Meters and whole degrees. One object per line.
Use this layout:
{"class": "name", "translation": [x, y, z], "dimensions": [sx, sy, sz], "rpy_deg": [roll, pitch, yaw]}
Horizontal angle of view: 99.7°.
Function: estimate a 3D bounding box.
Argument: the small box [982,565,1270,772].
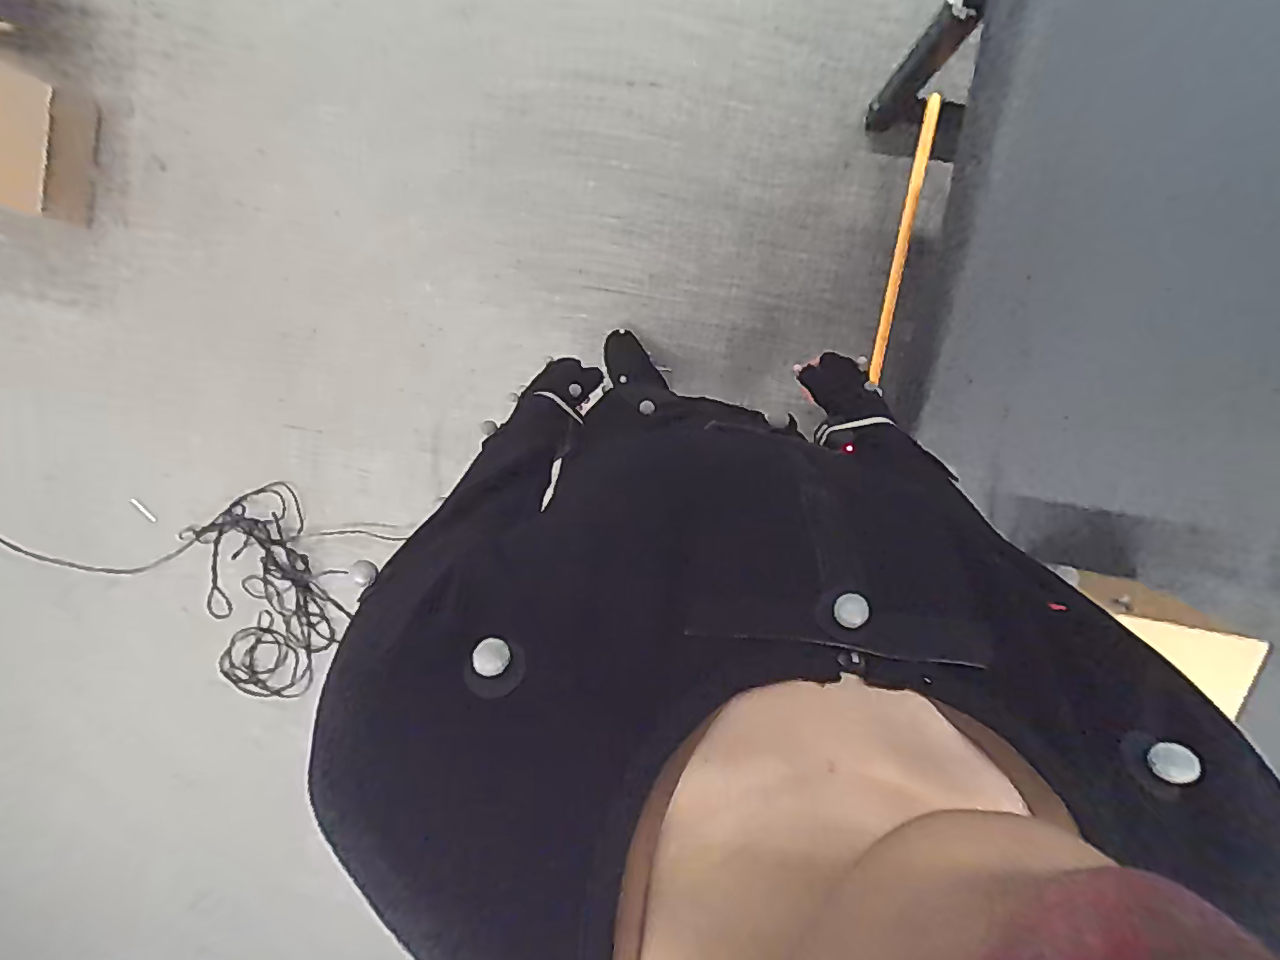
{"class": "small box", "translation": [0.576, 0.220, 0.671], "dimensions": [0.179, 0.176, 0.168], "rpy_deg": [10, 102, 2]}
